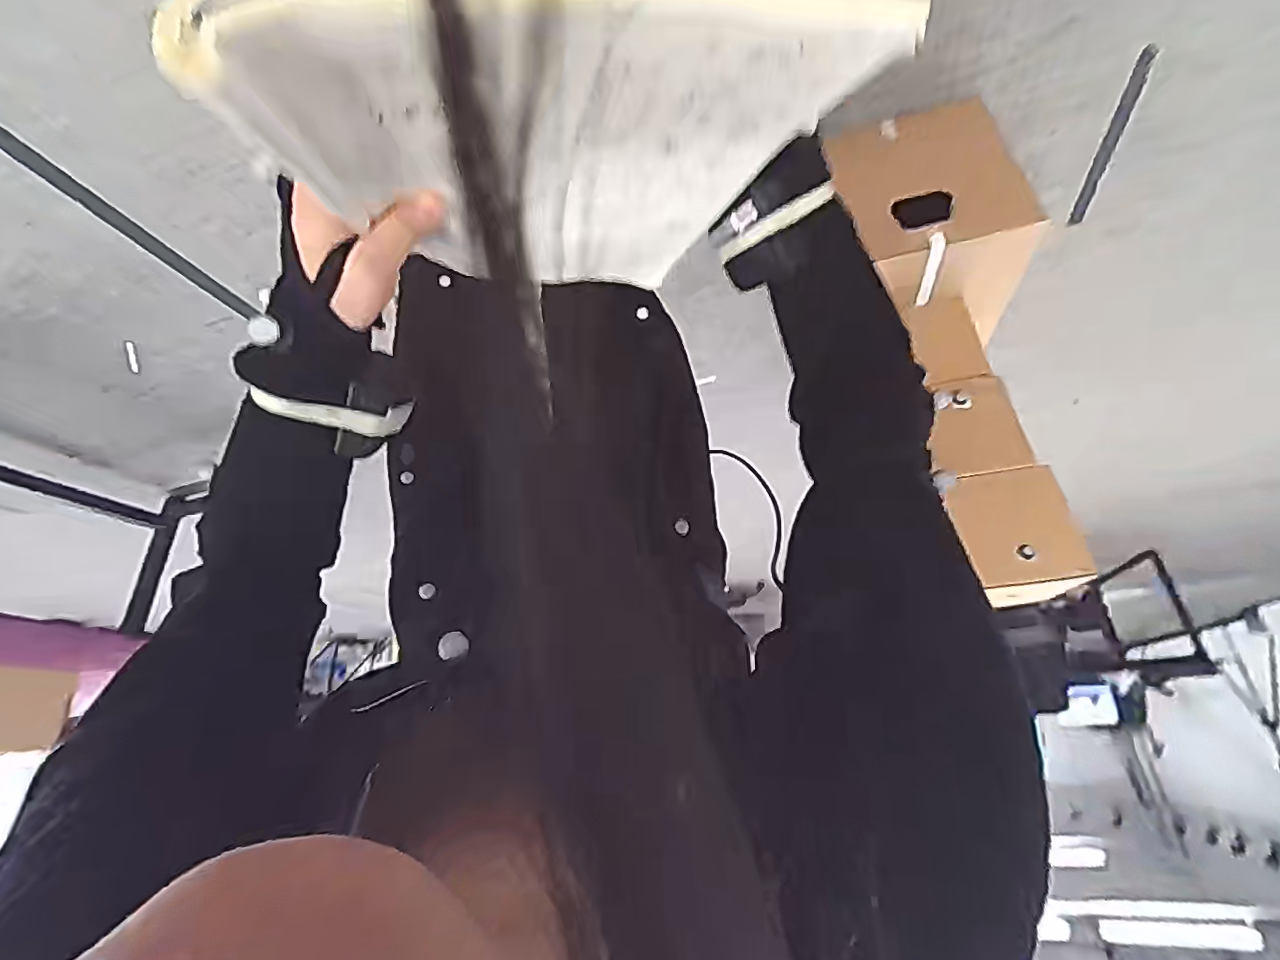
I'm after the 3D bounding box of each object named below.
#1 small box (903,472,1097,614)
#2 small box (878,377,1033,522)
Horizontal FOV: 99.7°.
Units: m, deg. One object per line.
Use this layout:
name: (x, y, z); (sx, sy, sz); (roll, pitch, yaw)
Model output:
small box: (0.533, 0.099, 0.833); (0.179, 0.176, 0.168); (-9, 154, 10)
small box: (0.511, -0.046, 0.908); (0.168, 0.176, 0.179); (-10, 153, 12)
